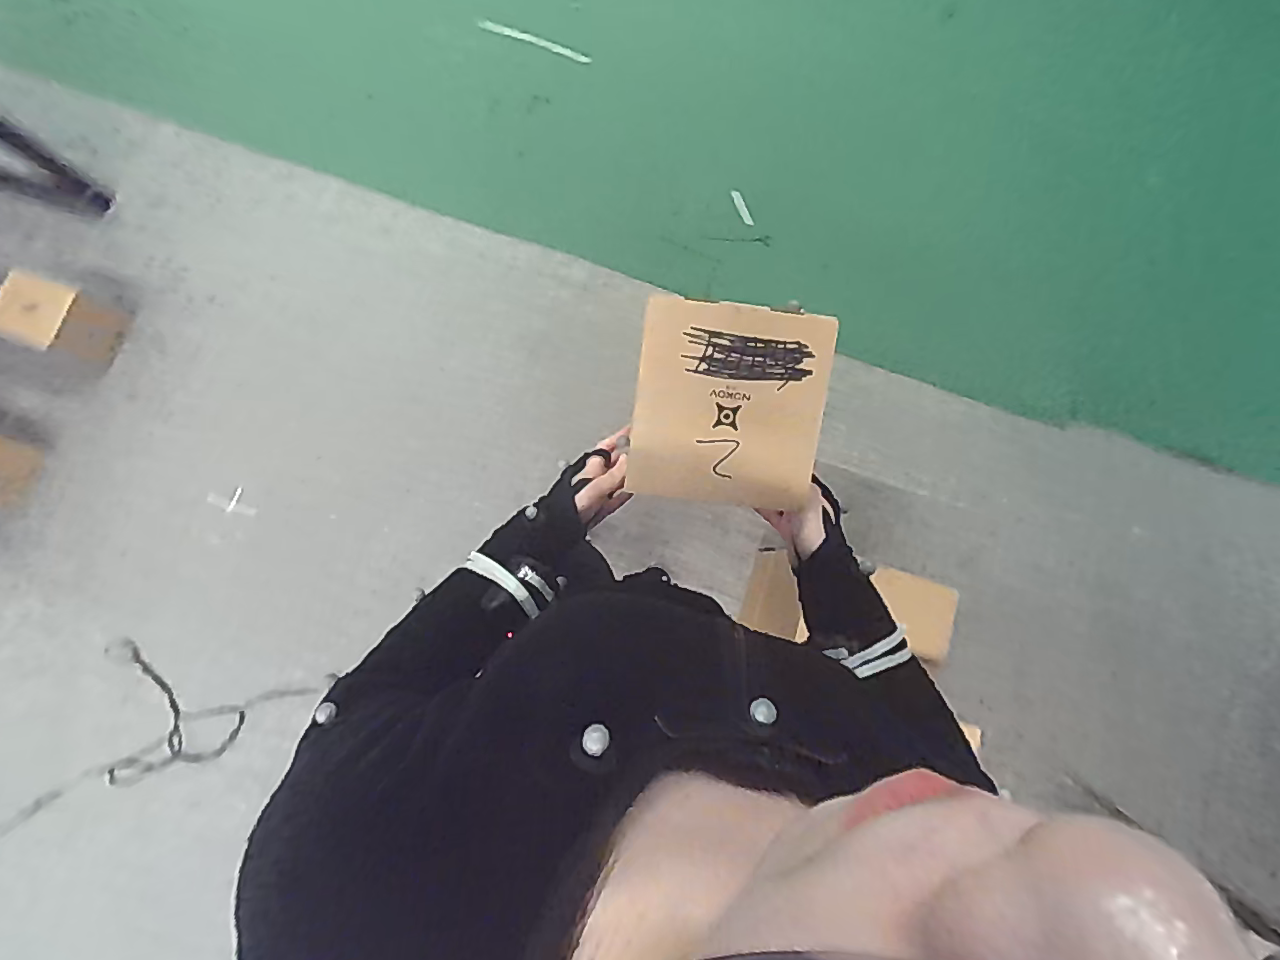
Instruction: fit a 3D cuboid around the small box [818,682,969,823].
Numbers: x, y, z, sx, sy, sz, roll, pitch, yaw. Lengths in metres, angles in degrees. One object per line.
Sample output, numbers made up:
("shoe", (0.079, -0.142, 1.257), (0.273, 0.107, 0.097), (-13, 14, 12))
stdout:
("small box", (0.453, 0.483, 0.985), (0.179, 0.176, 0.168), (15, 80, -2))
